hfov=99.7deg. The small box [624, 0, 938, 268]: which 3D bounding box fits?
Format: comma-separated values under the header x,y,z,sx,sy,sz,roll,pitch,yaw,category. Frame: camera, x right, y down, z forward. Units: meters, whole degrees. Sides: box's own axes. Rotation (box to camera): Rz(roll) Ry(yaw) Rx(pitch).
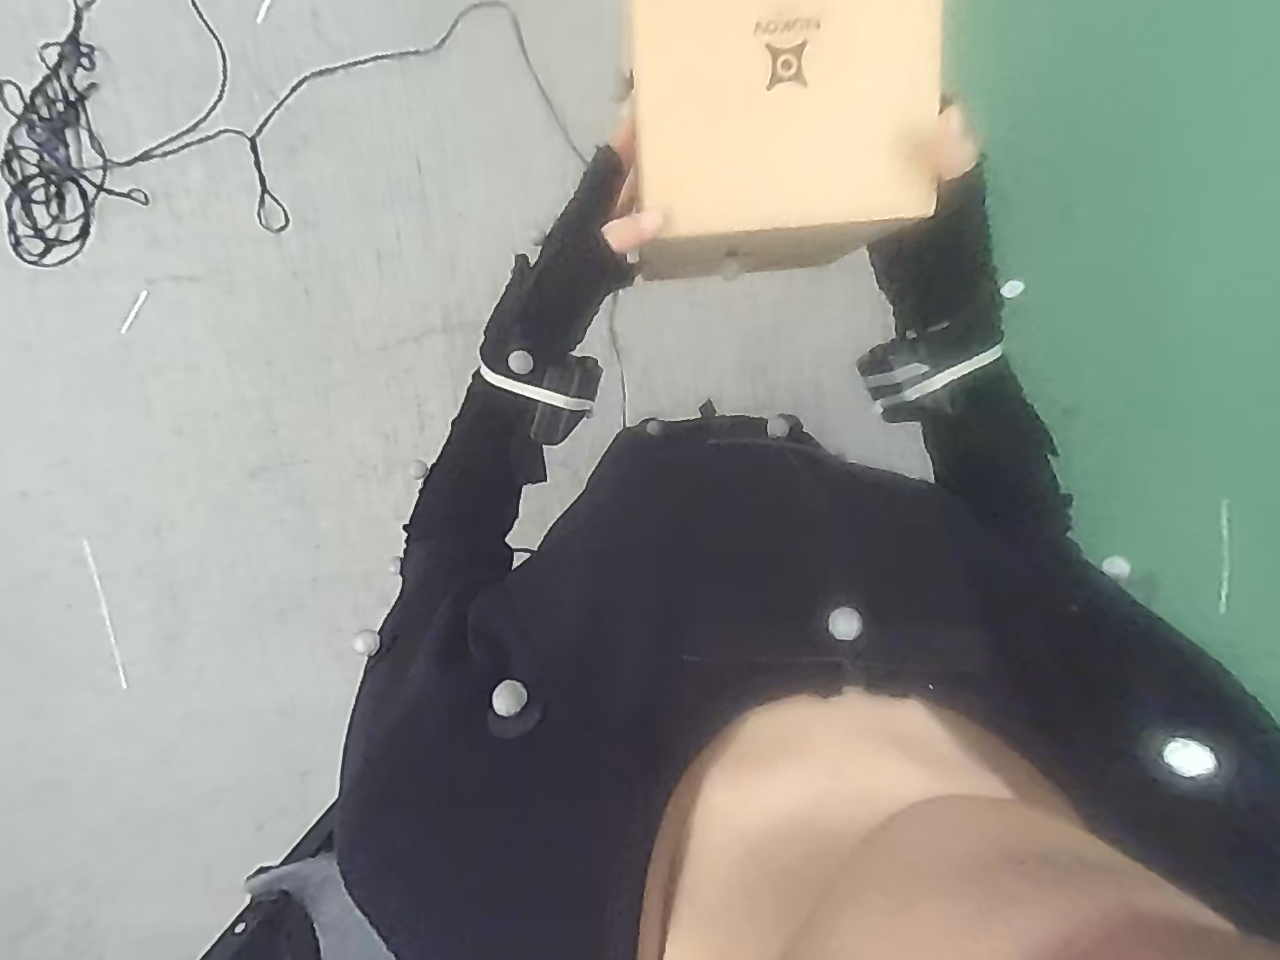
x,y,z,sx,sy,sz,roll,pitch,yaw,category
0.078,-0.251,0.369,0.168,0.176,0.179,-5,100,1,small box
